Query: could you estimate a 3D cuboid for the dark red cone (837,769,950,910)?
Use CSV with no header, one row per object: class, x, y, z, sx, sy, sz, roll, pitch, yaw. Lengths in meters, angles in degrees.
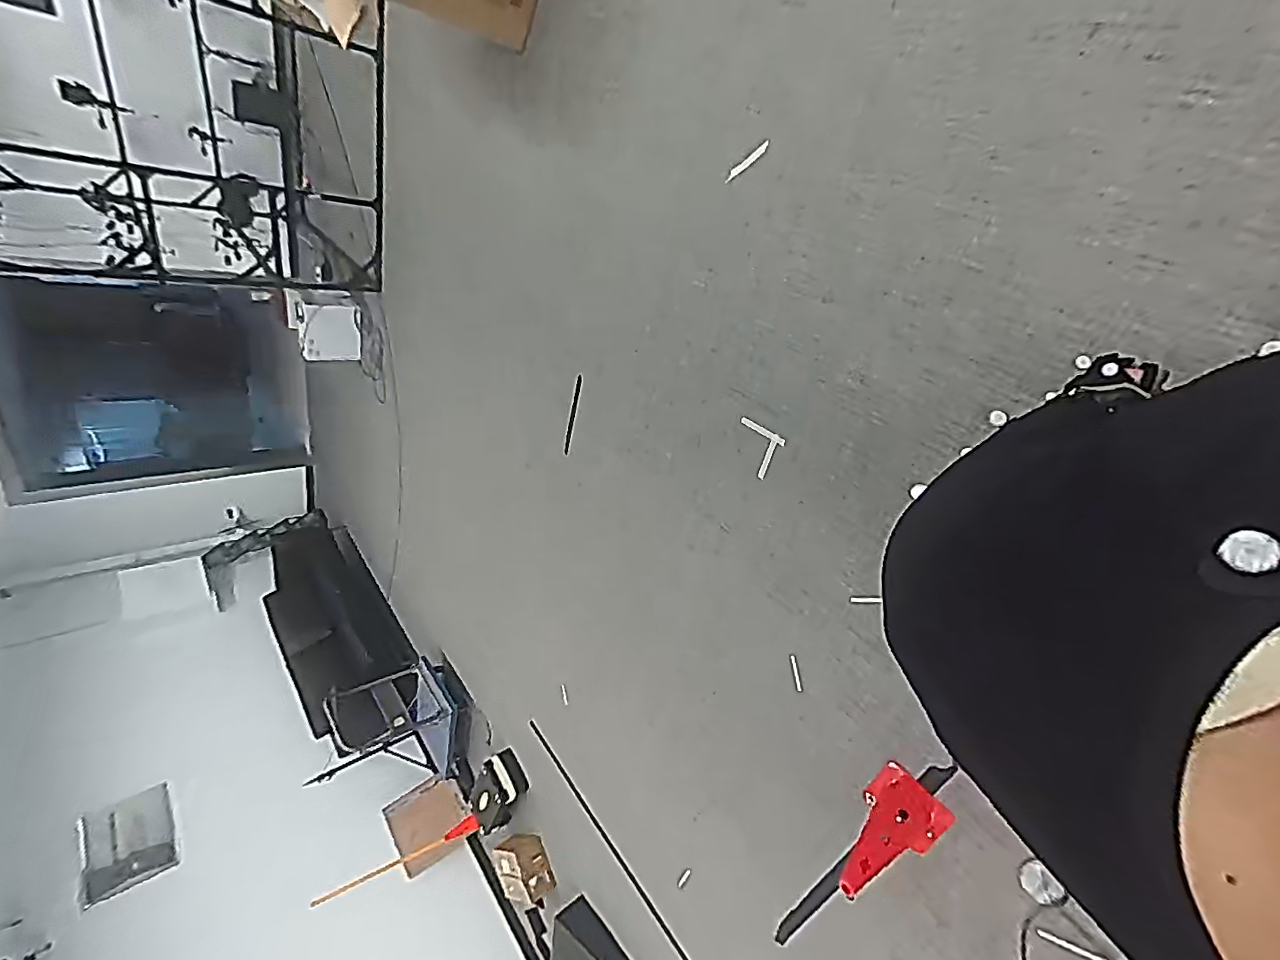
dark red cone,0.620,0.965,1.409,0.201,0.394,0.202,39,126,34
